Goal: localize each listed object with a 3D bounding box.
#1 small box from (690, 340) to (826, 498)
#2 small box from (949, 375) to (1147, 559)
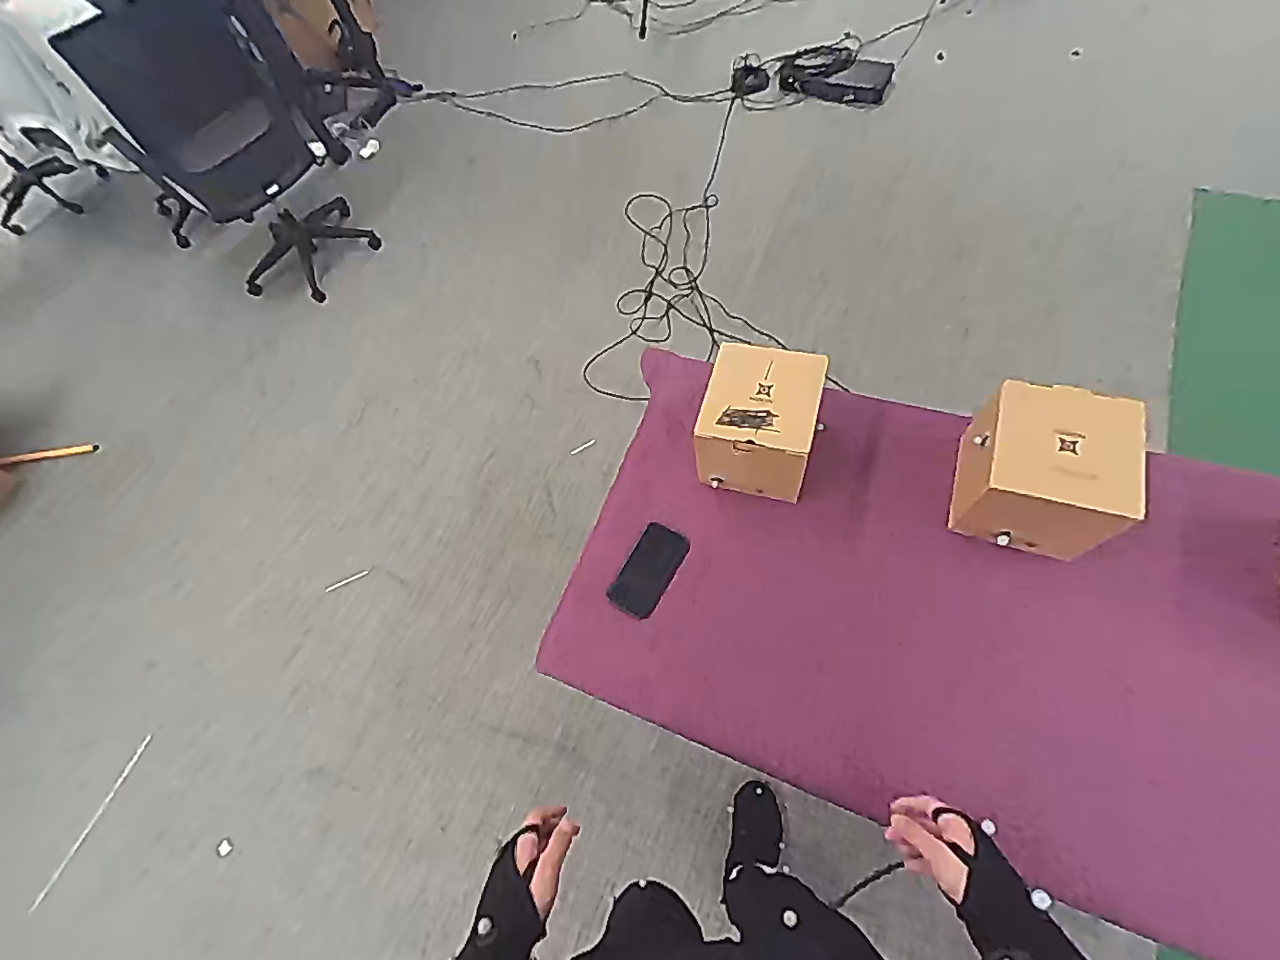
[{"bbox_3d":[0.186,-0.091,0.856,0.168,0.176,0.179,12,65,16],"label":"small box"},{"bbox_3d":[0.553,-0.014,0.752,0.168,0.176,0.179,15,68,18],"label":"small box"}]
